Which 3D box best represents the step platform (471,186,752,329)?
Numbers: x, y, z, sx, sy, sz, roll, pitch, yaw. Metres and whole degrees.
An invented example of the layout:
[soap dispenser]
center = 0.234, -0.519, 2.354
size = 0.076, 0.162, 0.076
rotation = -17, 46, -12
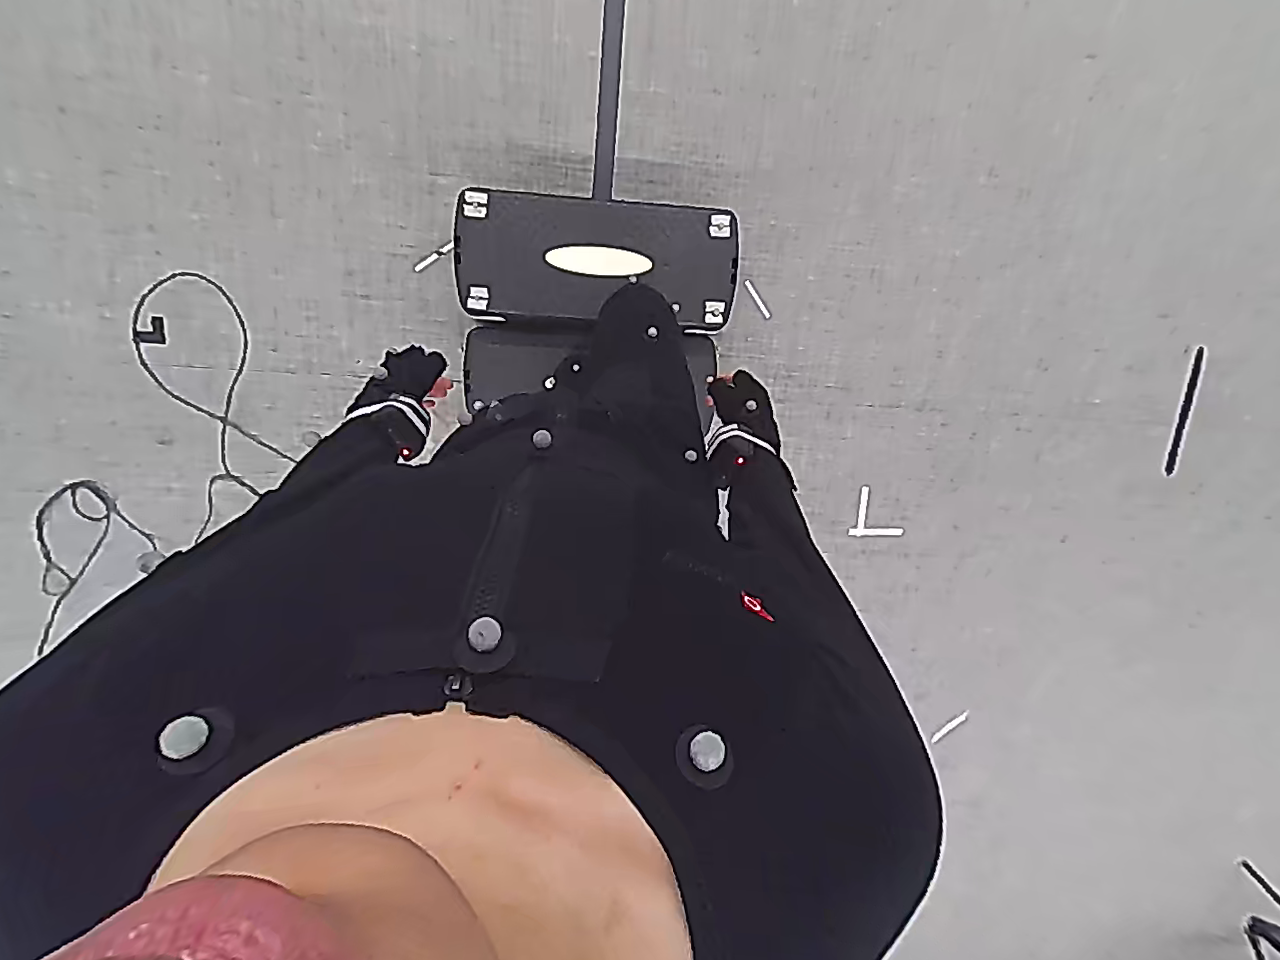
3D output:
[step platform]
center = -0.068, -0.544, 1.354
size = 0.684, 0.204, 0.286
rotation = 1, 103, -6
